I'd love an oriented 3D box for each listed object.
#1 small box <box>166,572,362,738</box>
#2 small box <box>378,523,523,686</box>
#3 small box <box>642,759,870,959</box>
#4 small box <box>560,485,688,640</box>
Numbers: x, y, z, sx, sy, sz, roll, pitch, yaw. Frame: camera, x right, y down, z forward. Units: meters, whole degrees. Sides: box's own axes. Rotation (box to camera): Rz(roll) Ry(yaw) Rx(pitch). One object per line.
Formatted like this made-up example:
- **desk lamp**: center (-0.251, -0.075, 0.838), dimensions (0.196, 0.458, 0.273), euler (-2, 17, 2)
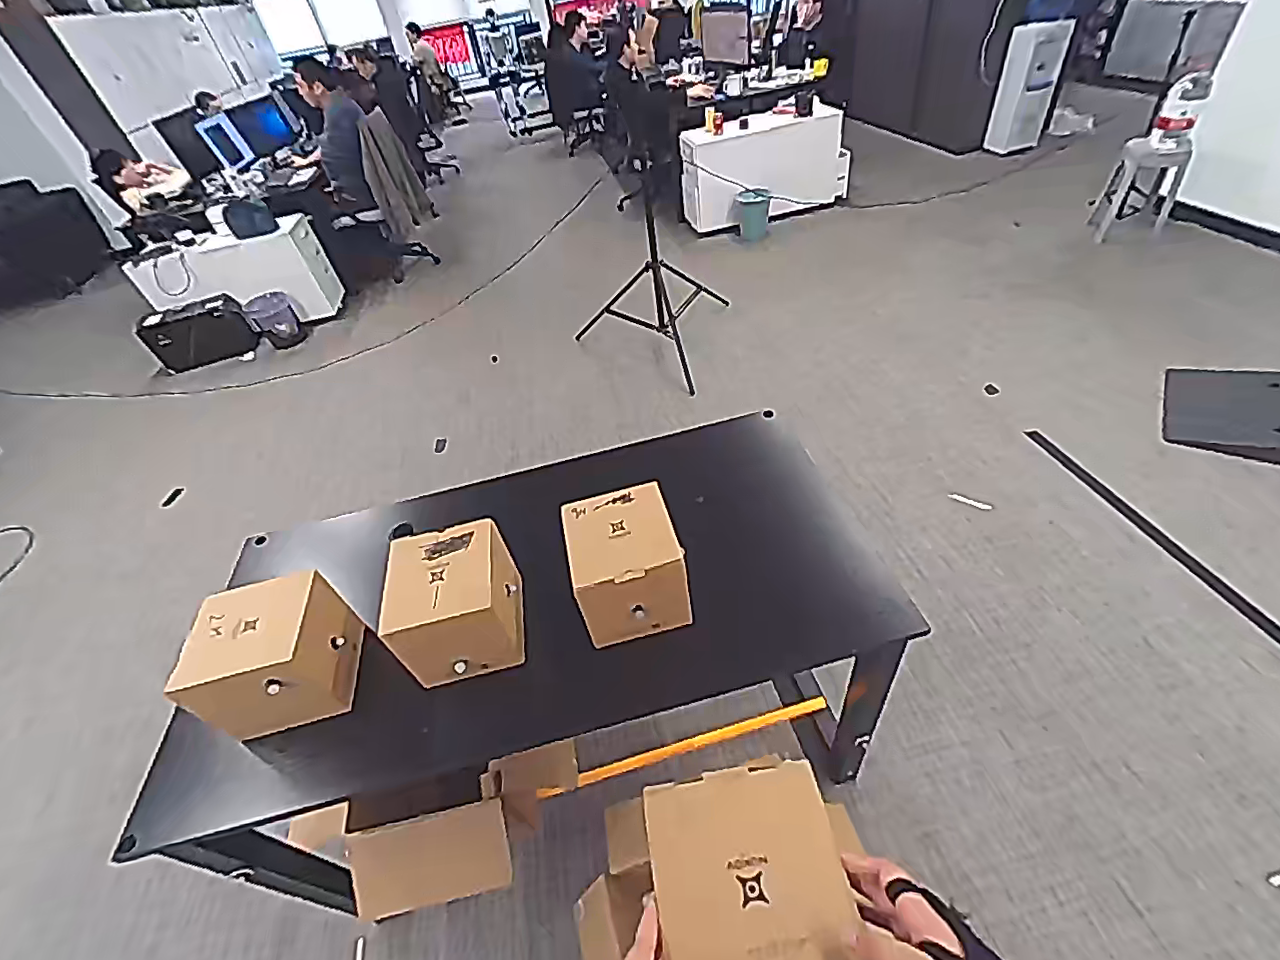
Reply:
- **small box**: center (-0.568, 0.277, 0.852), dimensions (0.179, 0.176, 0.168), euler (-15, 43, -4)
- **small box**: center (-0.294, 0.202, 0.877), dimensions (0.168, 0.176, 0.179), euler (-14, 44, -3)
- **small box**: center (0.098, 0.399, 0.523), dimensions (0.168, 0.176, 0.179), euler (-10, 47, -2)
- **small box**: center (-0.025, 0.142, 0.887), dimensions (0.168, 0.176, 0.179), euler (-14, 44, -3)
